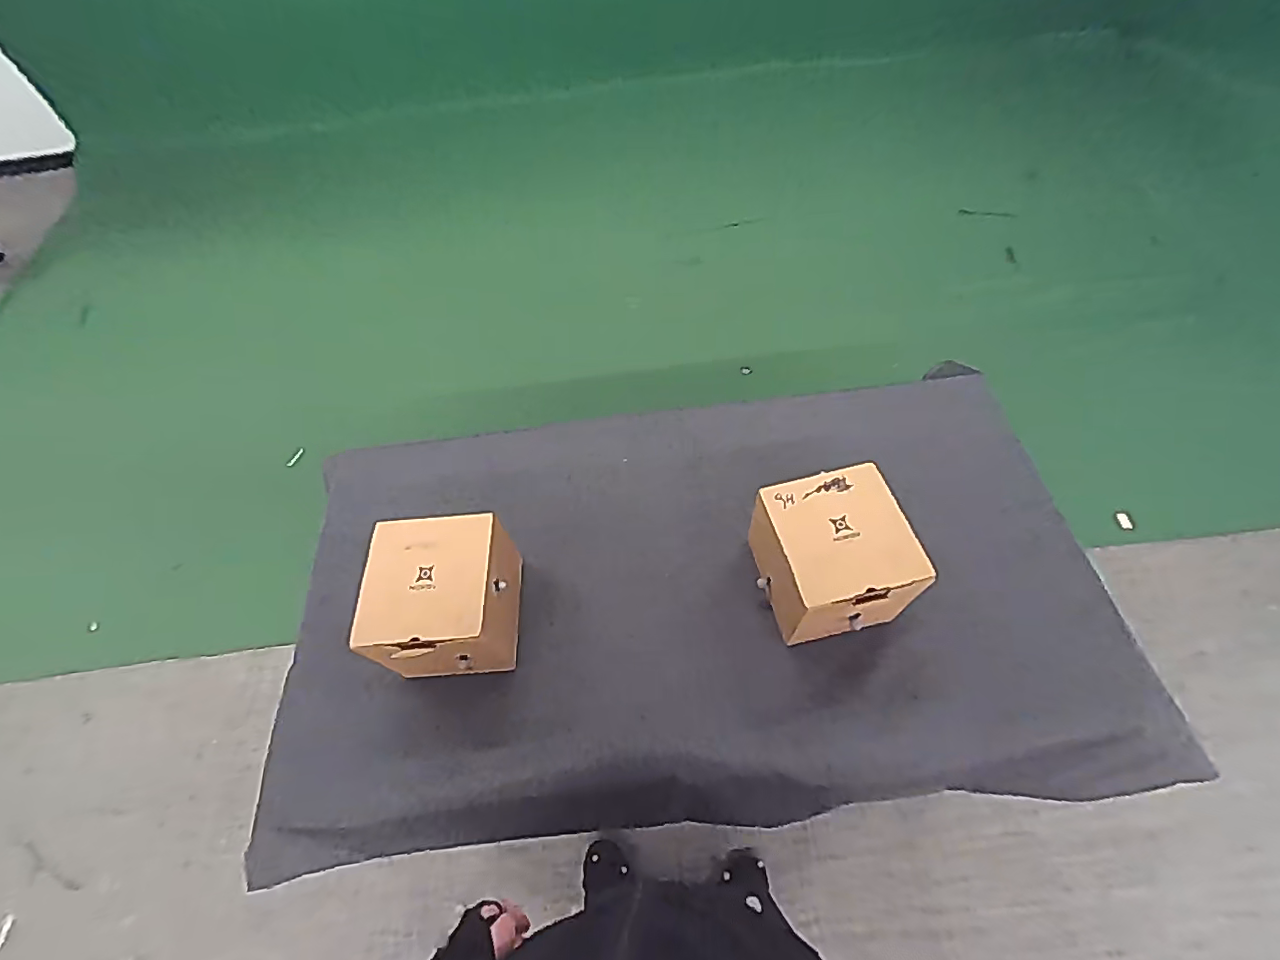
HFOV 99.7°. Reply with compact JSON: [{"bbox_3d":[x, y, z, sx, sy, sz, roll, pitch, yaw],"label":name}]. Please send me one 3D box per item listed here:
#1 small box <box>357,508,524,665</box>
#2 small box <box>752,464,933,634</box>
[{"bbox_3d":[-0.268,0.159,0.774,0.168,0.176,0.179,-4,57,0],"label":"small box"},{"bbox_3d":[0.267,0.106,0.761,0.168,0.176,0.179,-12,59,-3],"label":"small box"}]
